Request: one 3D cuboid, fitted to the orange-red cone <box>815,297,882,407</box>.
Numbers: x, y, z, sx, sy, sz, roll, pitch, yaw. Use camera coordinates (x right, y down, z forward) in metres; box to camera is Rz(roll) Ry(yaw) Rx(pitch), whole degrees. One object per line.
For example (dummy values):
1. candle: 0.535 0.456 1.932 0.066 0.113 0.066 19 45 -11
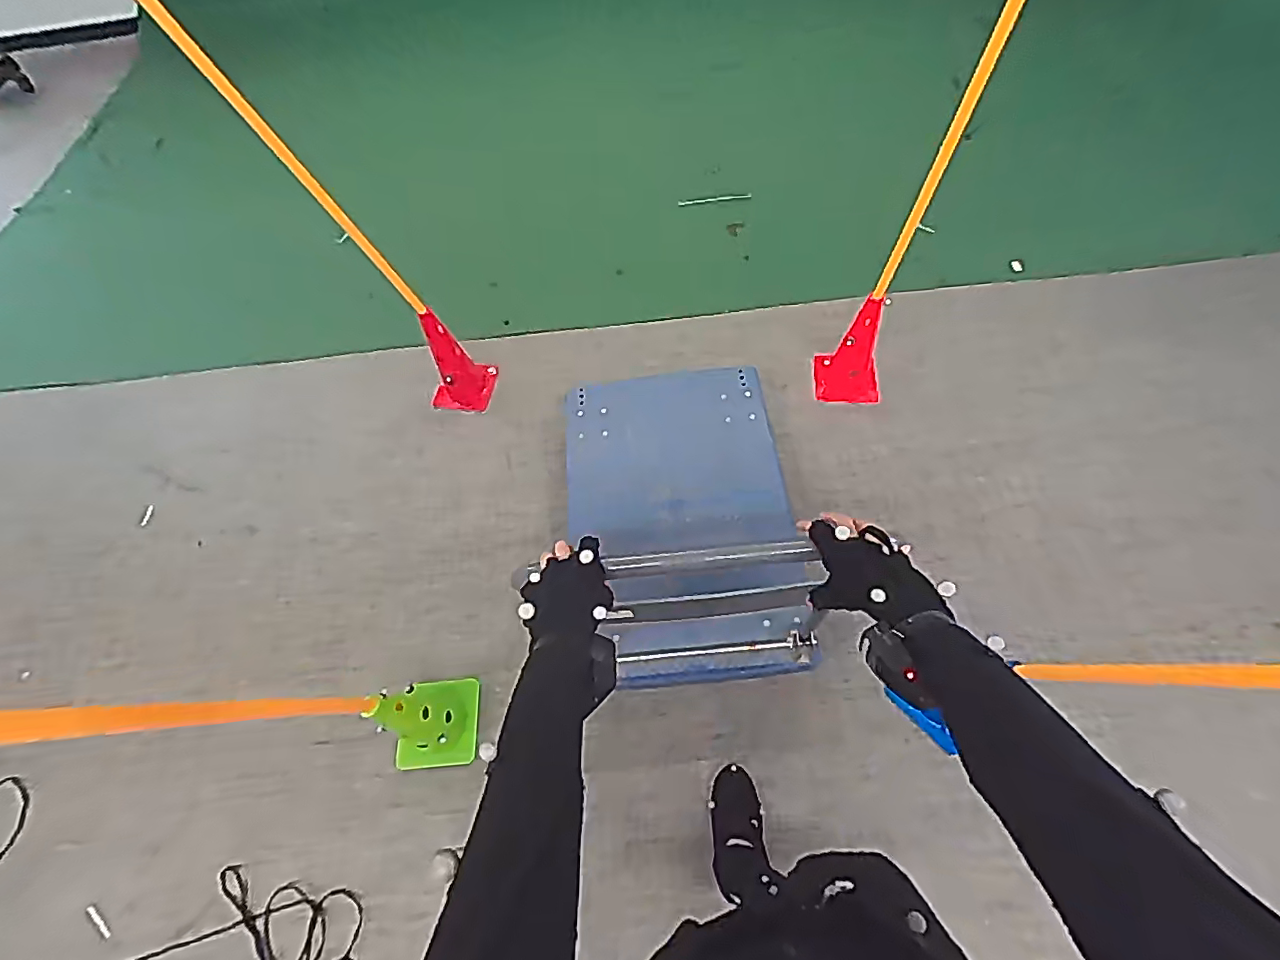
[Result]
1. orange-red cone: 0.666 -0.406 1.641 0.198 0.360 0.199 4 62 8
